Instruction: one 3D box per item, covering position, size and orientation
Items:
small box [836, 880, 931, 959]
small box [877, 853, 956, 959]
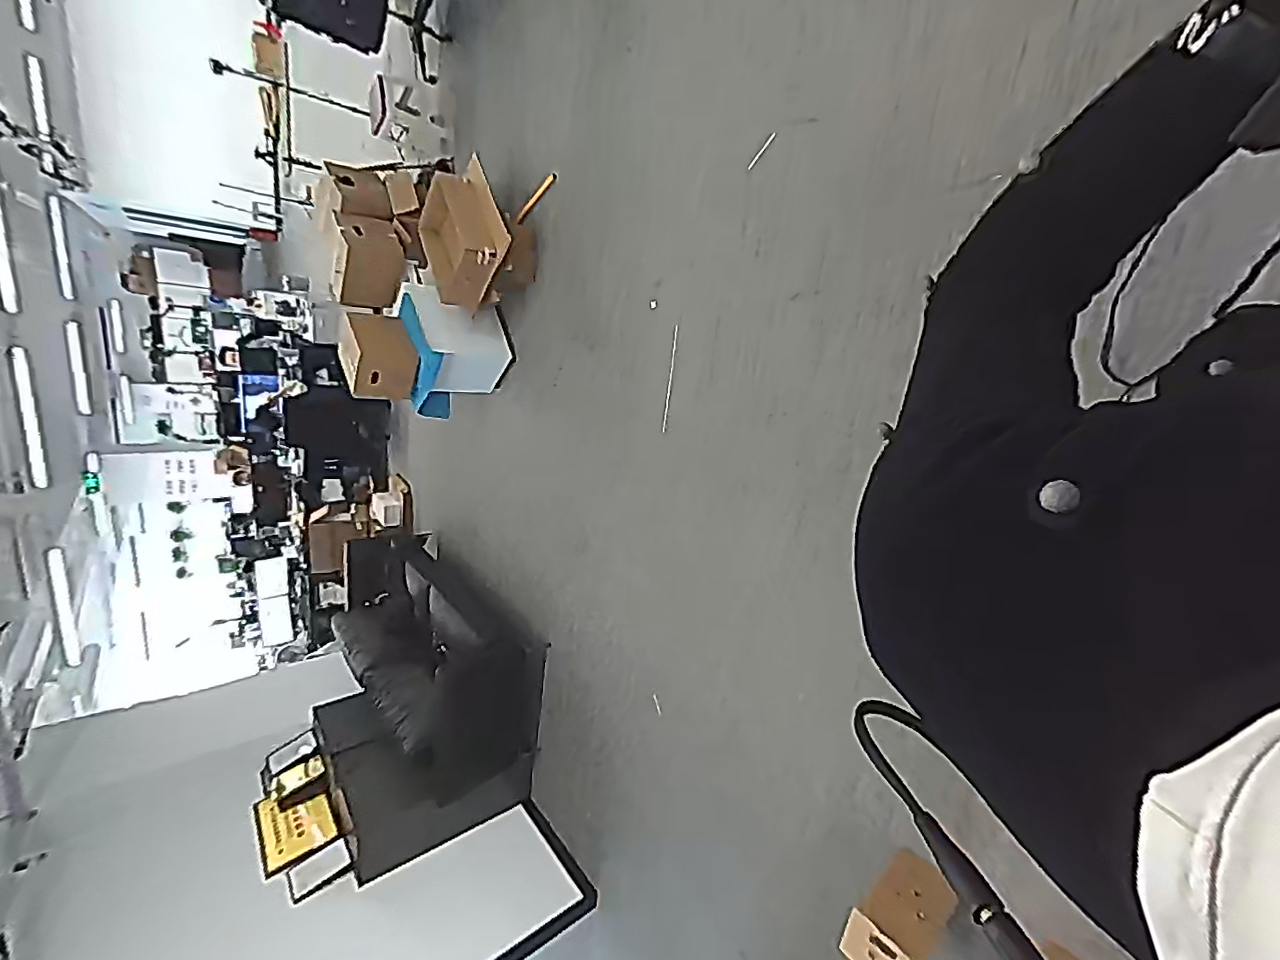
[{"bbox_3d":[0.689,1.288,1.522,0.168,0.176,0.179,27,115,46],"label":"small box"},{"bbox_3d":[0.815,1.282,1.626,0.179,0.176,0.168,25,112,46],"label":"small box"}]
